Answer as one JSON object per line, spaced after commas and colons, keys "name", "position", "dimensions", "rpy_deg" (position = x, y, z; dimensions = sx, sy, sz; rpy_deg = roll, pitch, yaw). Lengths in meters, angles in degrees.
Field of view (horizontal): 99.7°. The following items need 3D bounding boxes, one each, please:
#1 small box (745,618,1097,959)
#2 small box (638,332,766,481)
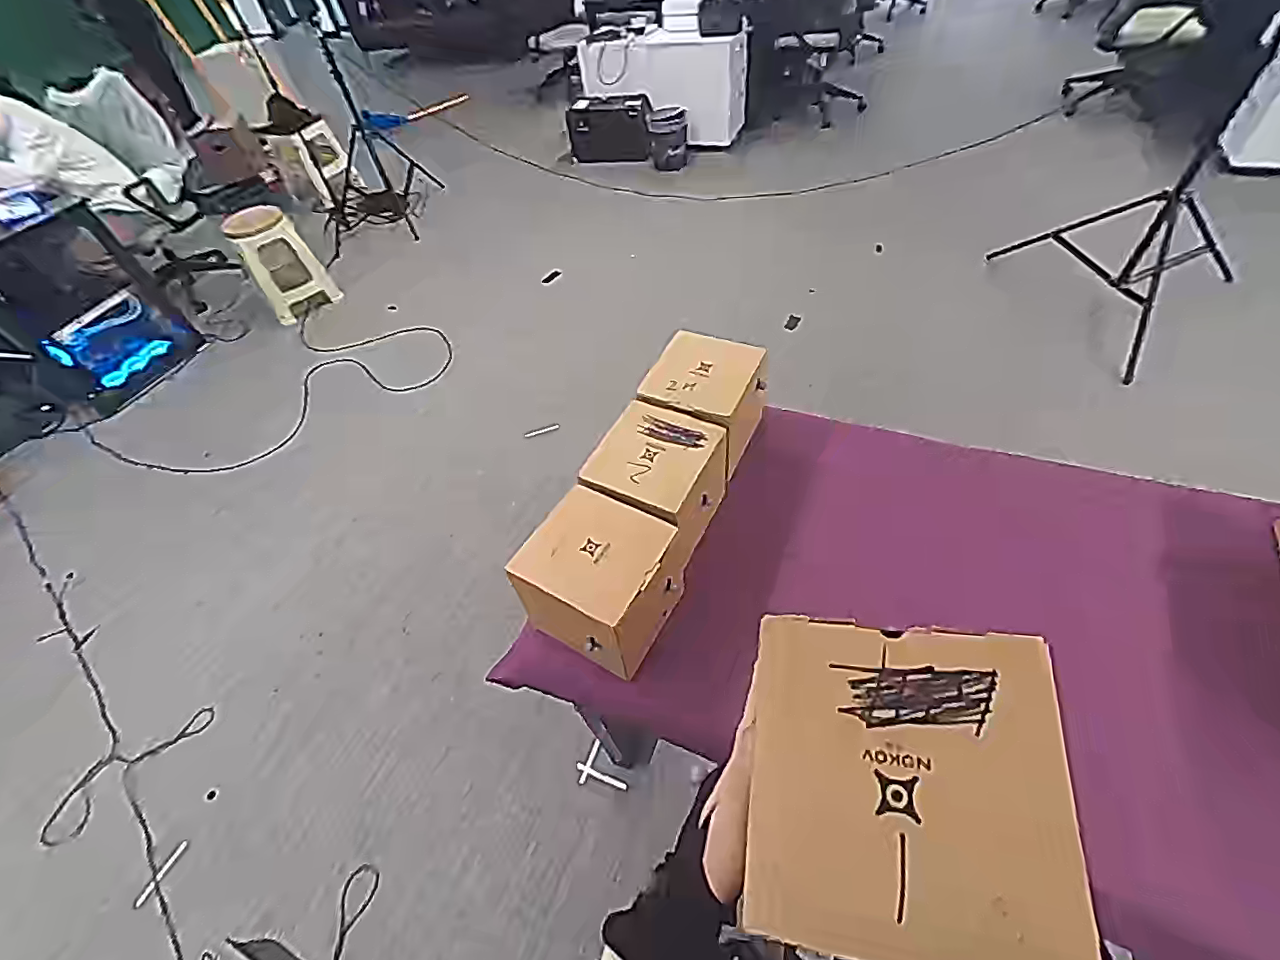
{"name": "small box", "position": [0.173, 0.211, 0.373], "dimensions": [0.168, 0.176, 0.179], "rpy_deg": [0, 62, 21]}
{"name": "small box", "position": [0.112, -0.129, 0.961], "dimensions": [0.168, 0.176, 0.179], "rpy_deg": [19, 57, 21]}
